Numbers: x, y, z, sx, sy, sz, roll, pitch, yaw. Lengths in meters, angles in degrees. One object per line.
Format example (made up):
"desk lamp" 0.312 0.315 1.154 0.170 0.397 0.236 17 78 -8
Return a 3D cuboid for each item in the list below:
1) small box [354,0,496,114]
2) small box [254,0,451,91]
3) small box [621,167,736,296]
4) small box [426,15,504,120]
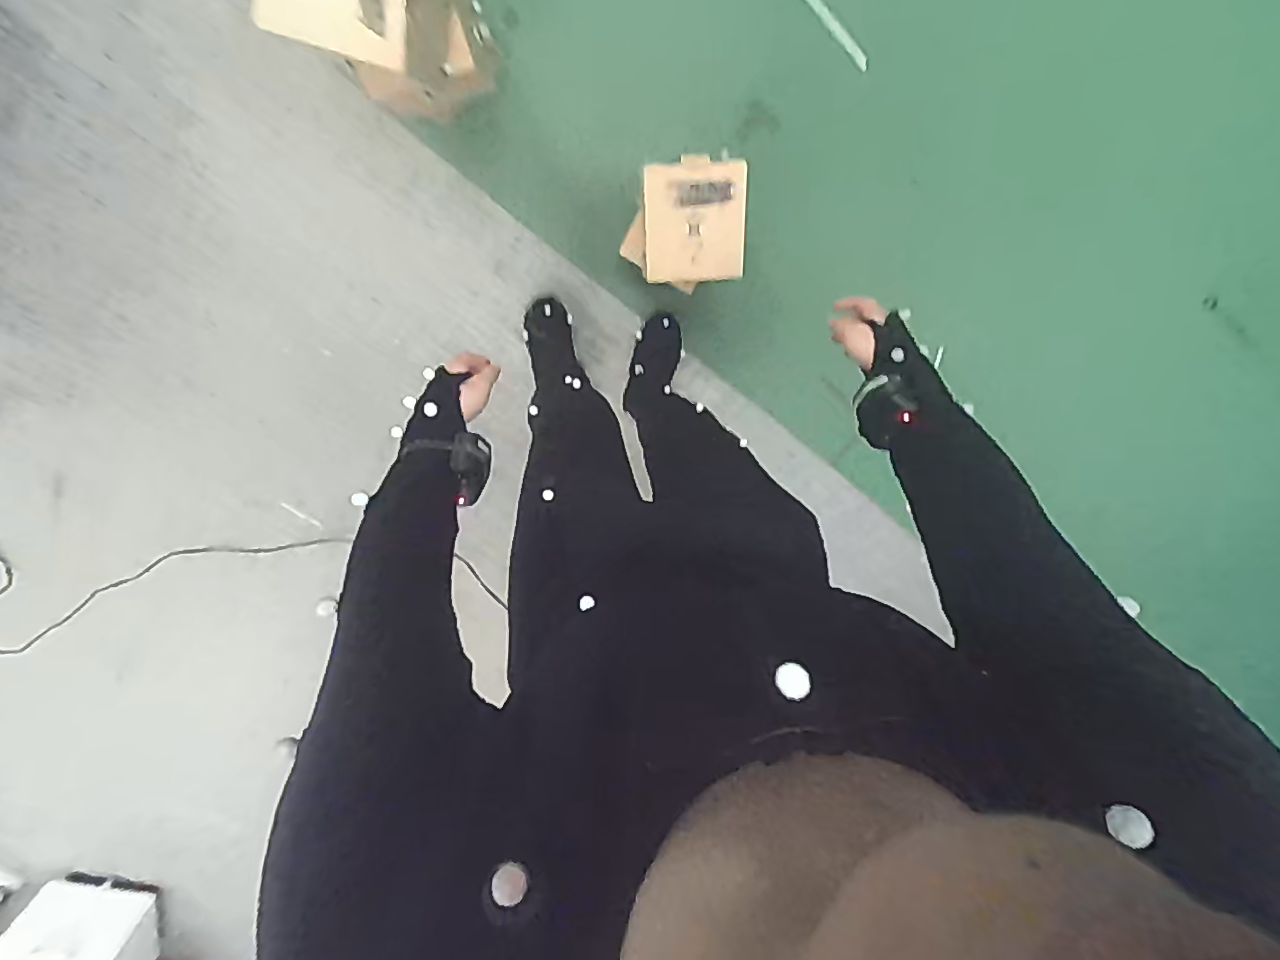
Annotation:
"small box" -0.344 -0.687 0.830 0.179 0.176 0.168 -14 118 5
"small box" -0.348 -0.617 0.680 0.179 0.176 0.168 14 117 -7
"small box" 0.068 -0.508 1.110 0.168 0.176 0.179 26 112 -14
"small box" -0.369 -0.781 0.963 0.179 0.176 0.168 -33 114 14
